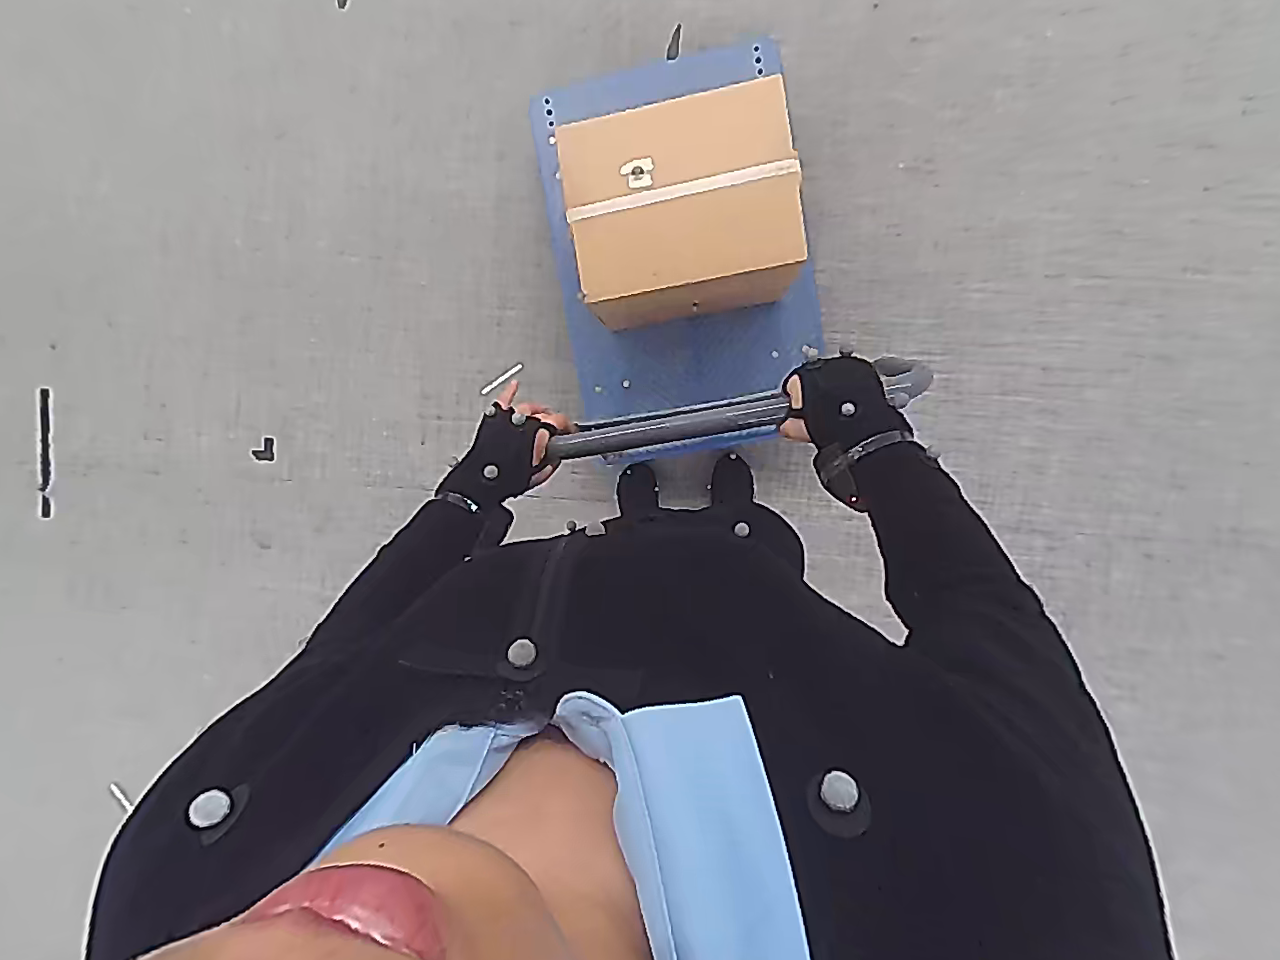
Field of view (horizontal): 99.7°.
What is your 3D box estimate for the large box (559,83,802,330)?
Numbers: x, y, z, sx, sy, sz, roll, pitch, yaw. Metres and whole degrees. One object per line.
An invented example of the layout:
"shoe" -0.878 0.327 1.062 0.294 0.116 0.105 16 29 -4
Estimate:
"large box" 0.088 -0.523 1.120 0.408 0.320 0.320 -9 94 8
